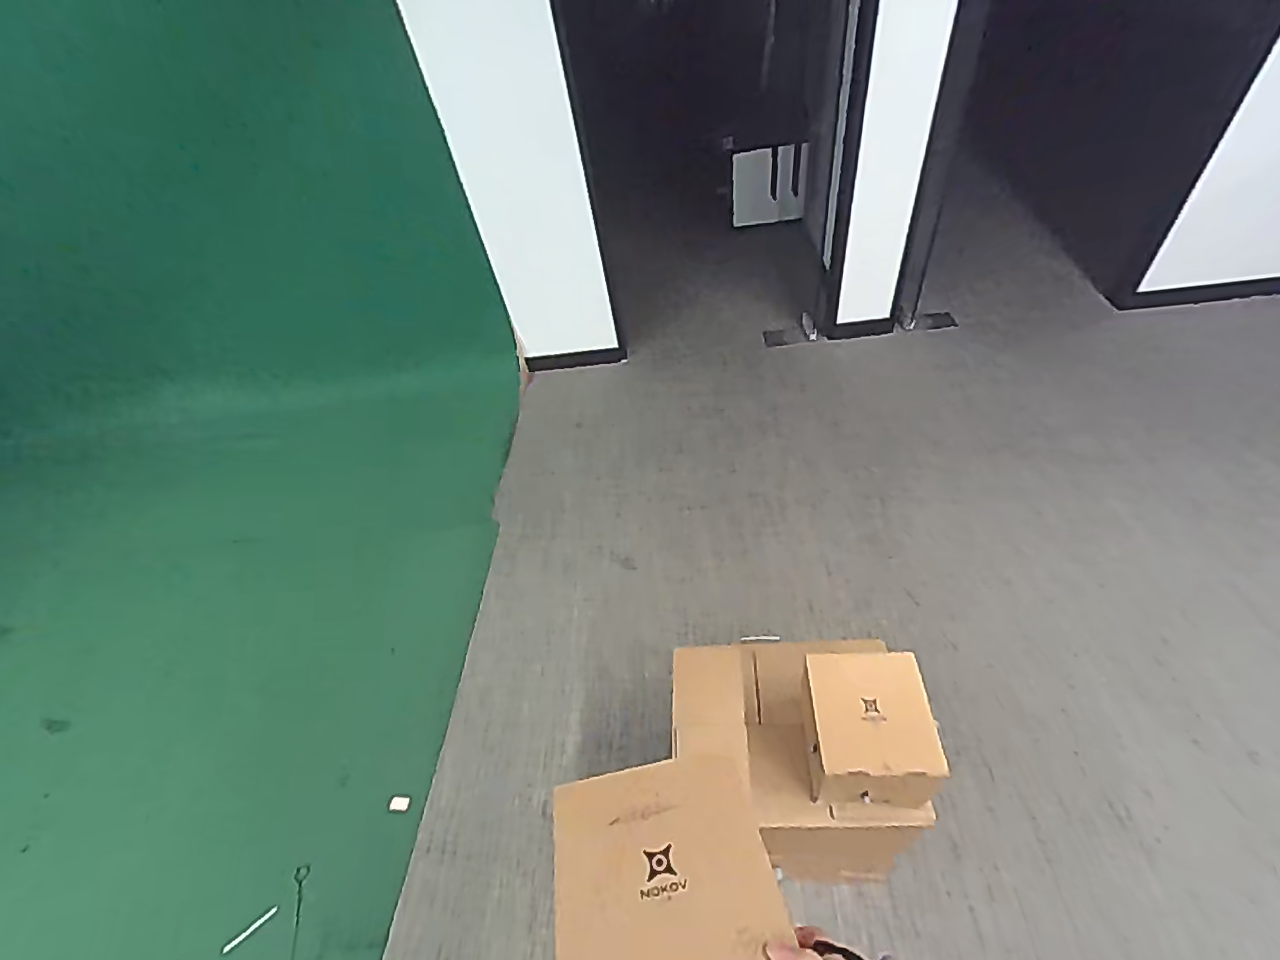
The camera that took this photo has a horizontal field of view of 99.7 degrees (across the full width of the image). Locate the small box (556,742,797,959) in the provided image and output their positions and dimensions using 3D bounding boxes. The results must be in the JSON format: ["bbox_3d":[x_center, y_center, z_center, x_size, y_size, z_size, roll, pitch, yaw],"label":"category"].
[{"bbox_3d":[0.026,0.365,0.458,0.168,0.176,0.179,-9,27,-4],"label":"small box"}]

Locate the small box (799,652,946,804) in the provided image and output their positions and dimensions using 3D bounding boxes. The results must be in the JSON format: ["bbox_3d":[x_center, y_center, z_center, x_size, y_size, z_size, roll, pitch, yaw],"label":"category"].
[{"bbox_3d":[0.348,0.390,0.852,0.168,0.176,0.179,-3,48,9],"label":"small box"}]
